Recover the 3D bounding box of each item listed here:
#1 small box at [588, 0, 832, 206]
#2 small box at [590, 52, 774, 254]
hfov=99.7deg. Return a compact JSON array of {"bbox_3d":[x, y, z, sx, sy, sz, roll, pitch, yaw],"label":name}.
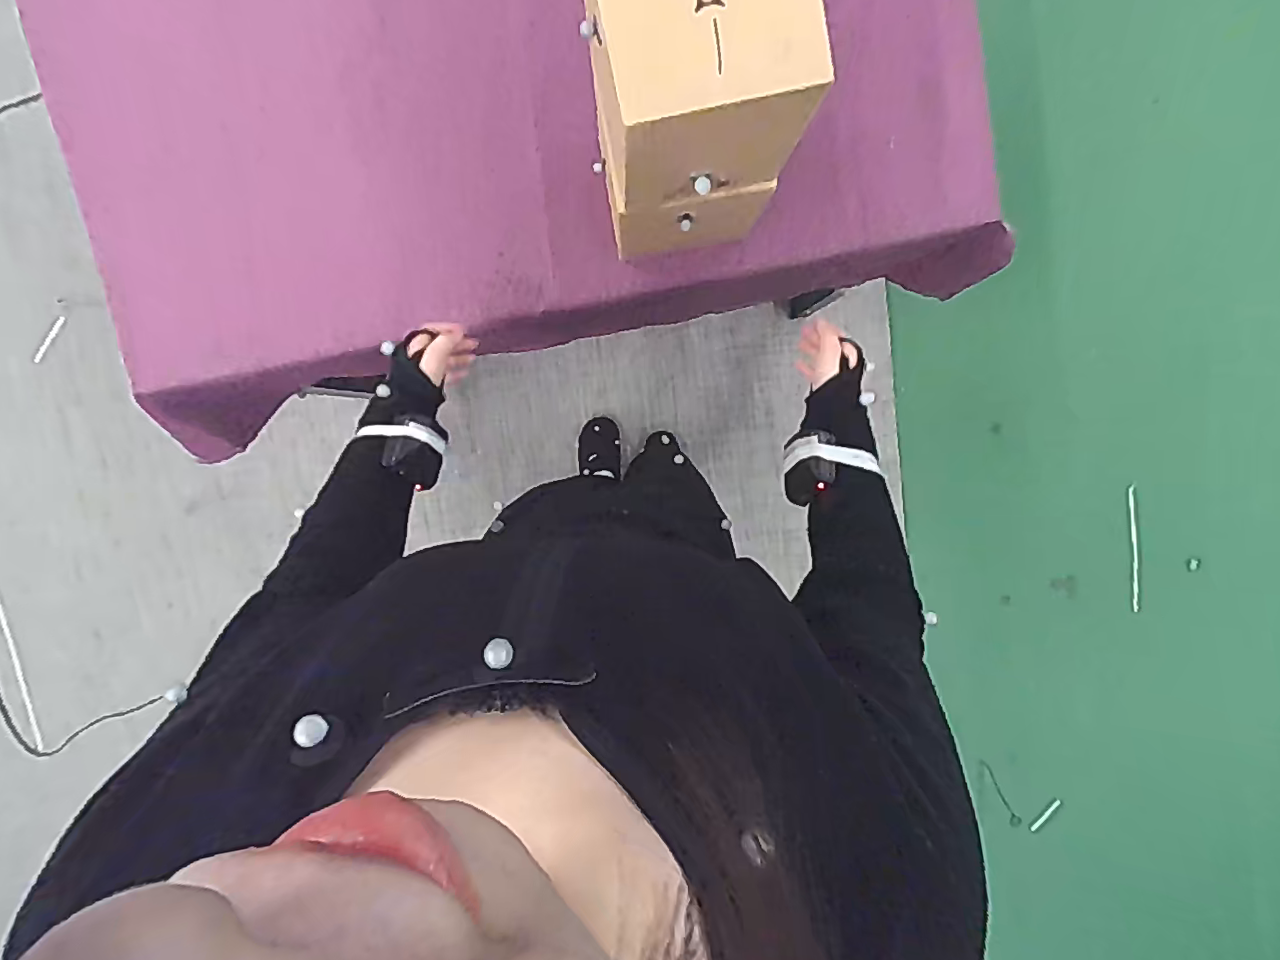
[{"bbox_3d":[0.047,-0.377,0.478,0.168,0.176,0.179,-12,96,0],"label":"small box"},{"bbox_3d":[0.045,-0.385,0.642,0.179,0.176,0.168,-9,96,0],"label":"small box"}]
